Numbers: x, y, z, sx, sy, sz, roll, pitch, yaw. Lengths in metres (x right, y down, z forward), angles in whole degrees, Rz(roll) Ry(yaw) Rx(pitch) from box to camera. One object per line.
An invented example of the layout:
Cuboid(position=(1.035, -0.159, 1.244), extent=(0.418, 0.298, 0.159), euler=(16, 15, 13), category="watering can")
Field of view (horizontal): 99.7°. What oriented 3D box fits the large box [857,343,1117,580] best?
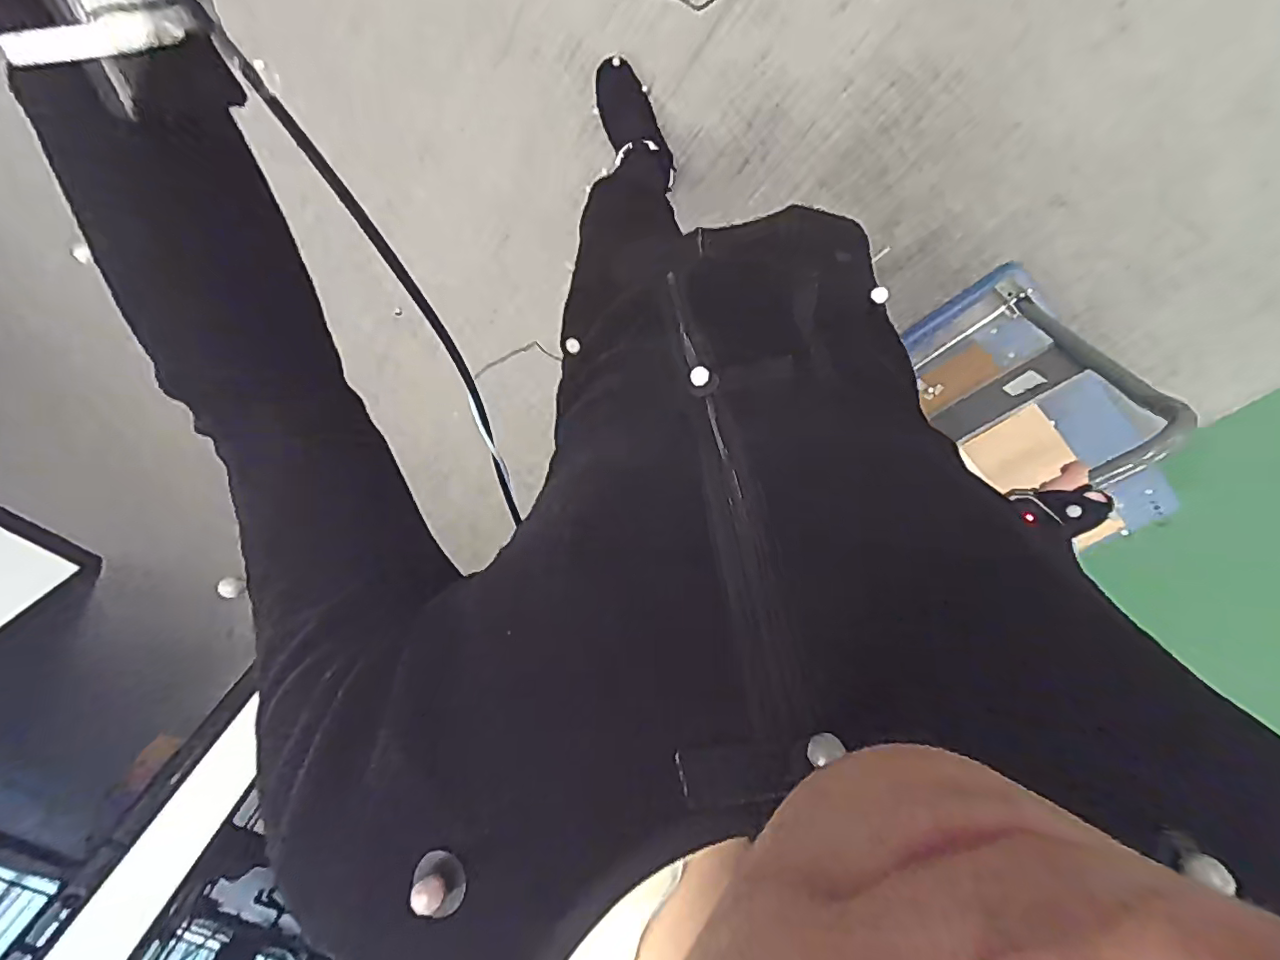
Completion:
Cuboid(position=(0.791, -0.045, 1.287), extent=(0.408, 0.320, 0.320), euler=(40, 123, -18), category="large box")
